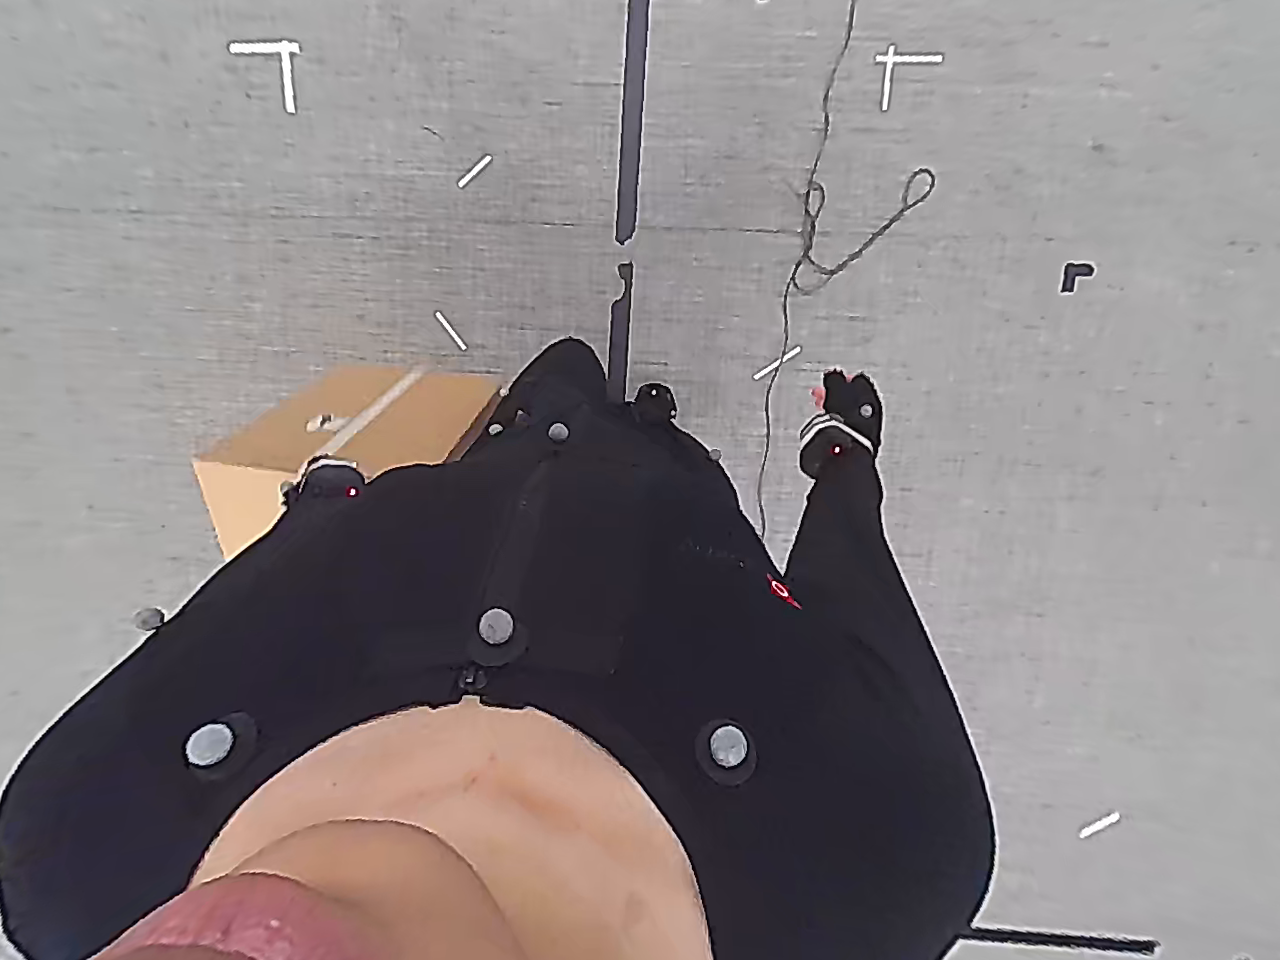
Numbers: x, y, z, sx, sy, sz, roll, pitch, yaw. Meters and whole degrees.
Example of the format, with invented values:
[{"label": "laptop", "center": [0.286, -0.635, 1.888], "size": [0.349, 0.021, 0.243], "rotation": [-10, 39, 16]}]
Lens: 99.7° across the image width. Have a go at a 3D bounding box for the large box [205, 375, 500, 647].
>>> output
[{"label": "large box", "center": [-0.454, 0.035, 0.981], "size": [0.320, 0.408, 0.320], "rotation": [5, 120, 0]}]
